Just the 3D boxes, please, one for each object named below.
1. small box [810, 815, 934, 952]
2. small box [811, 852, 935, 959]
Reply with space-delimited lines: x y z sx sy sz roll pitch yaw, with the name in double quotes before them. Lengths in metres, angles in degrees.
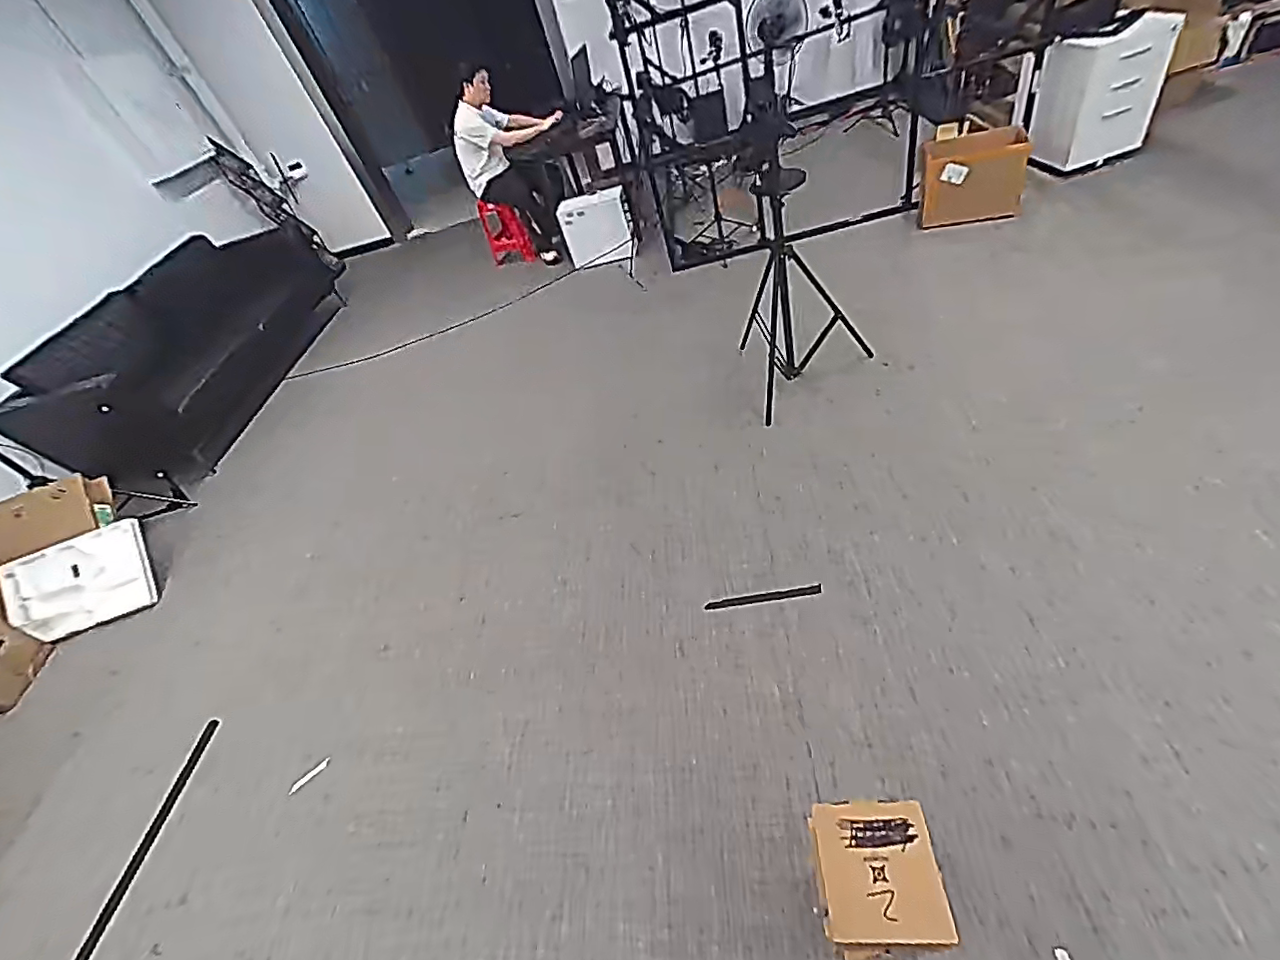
"small box" 0.407 0.730 0.978 0.168 0.176 0.179 -10 44 12
"small box" 0.456 0.844 1.083 0.168 0.176 0.179 -19 43 3
